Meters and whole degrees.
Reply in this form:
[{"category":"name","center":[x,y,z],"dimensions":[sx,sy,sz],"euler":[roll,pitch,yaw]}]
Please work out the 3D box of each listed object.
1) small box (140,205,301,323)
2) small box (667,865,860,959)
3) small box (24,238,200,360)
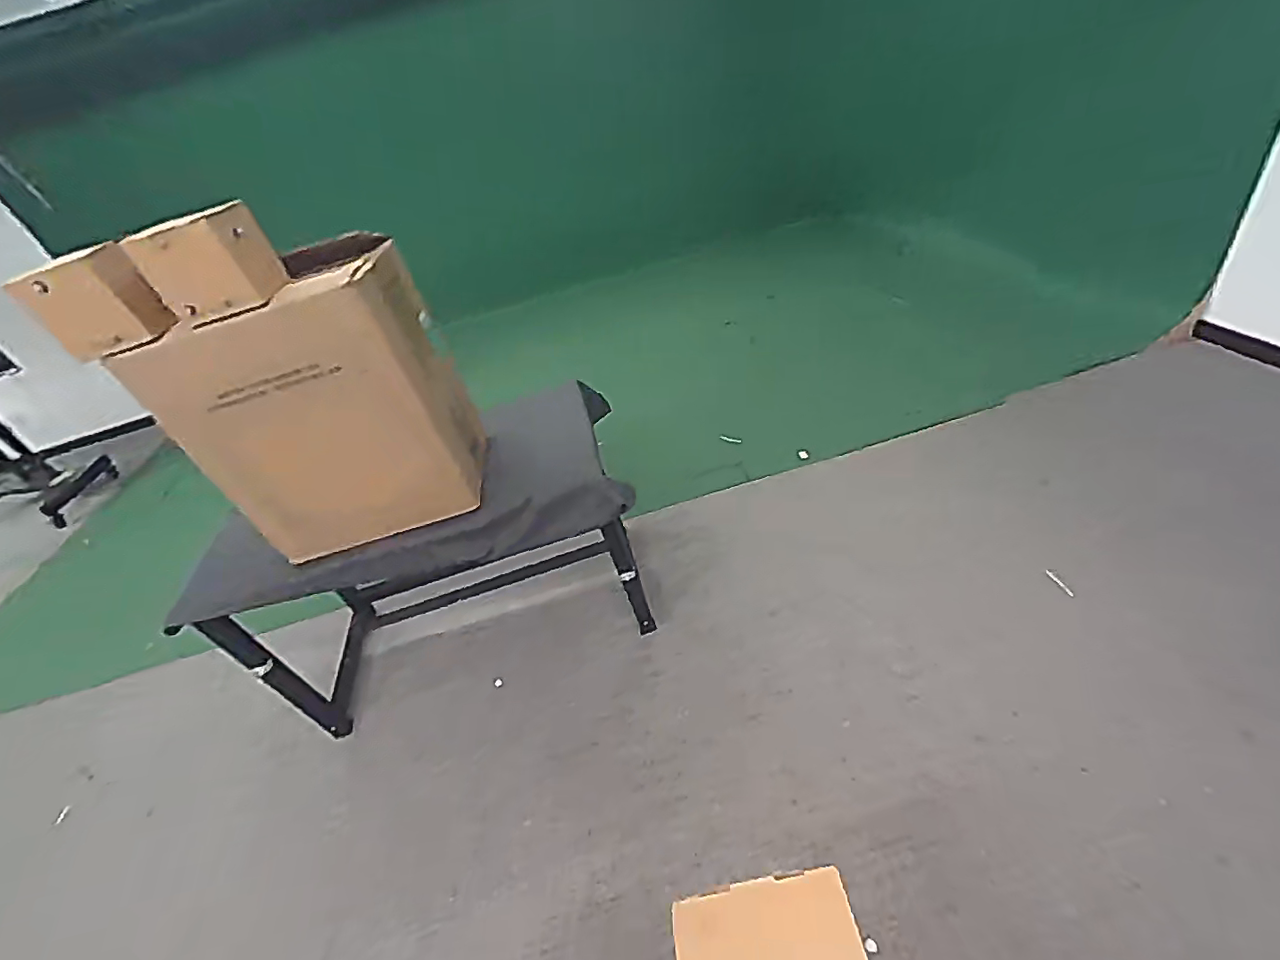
[{"category":"small box","center":[-0.842,-0.440,1.112],"dimensions":[0.168,0.176,0.179],"euler":[-16,37,0]},{"category":"small box","center":[0.130,0.498,0.492],"dimensions":[0.168,0.176,0.179],"euler":[-16,33,5]},{"category":"small box","center":[-1.055,-0.371,1.111],"dimensions":[0.168,0.176,0.179],"euler":[-18,37,4]}]
